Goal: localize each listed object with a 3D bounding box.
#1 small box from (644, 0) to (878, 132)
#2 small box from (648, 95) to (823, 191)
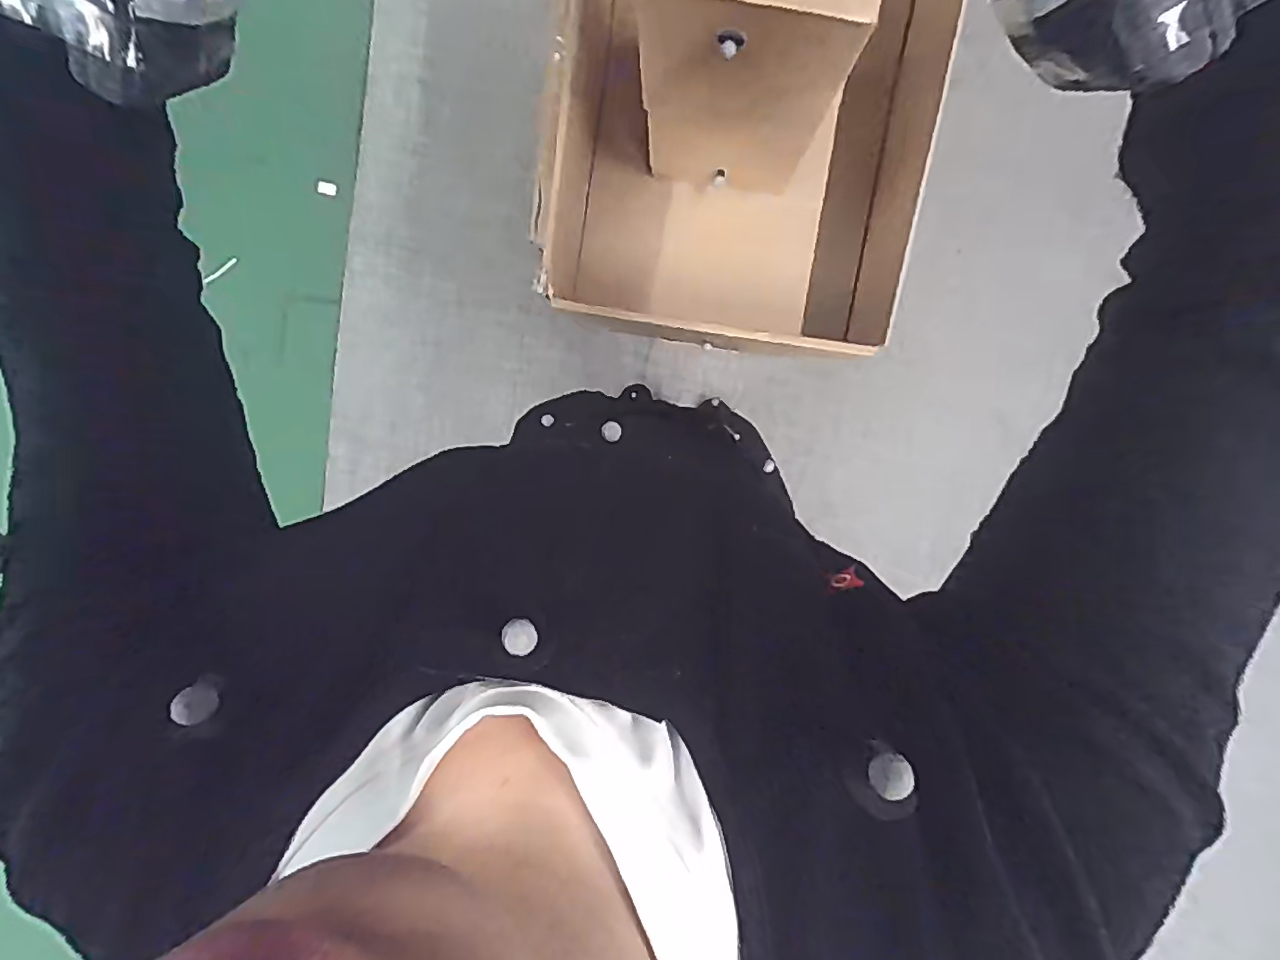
[{"bbox_3d":[0.100,-0.427,0.452,0.179,0.176,0.168,12,98,0],"label":"small box"},{"bbox_3d":[0.108,-0.452,0.614,0.179,0.176,0.168,9,96,1],"label":"small box"}]
